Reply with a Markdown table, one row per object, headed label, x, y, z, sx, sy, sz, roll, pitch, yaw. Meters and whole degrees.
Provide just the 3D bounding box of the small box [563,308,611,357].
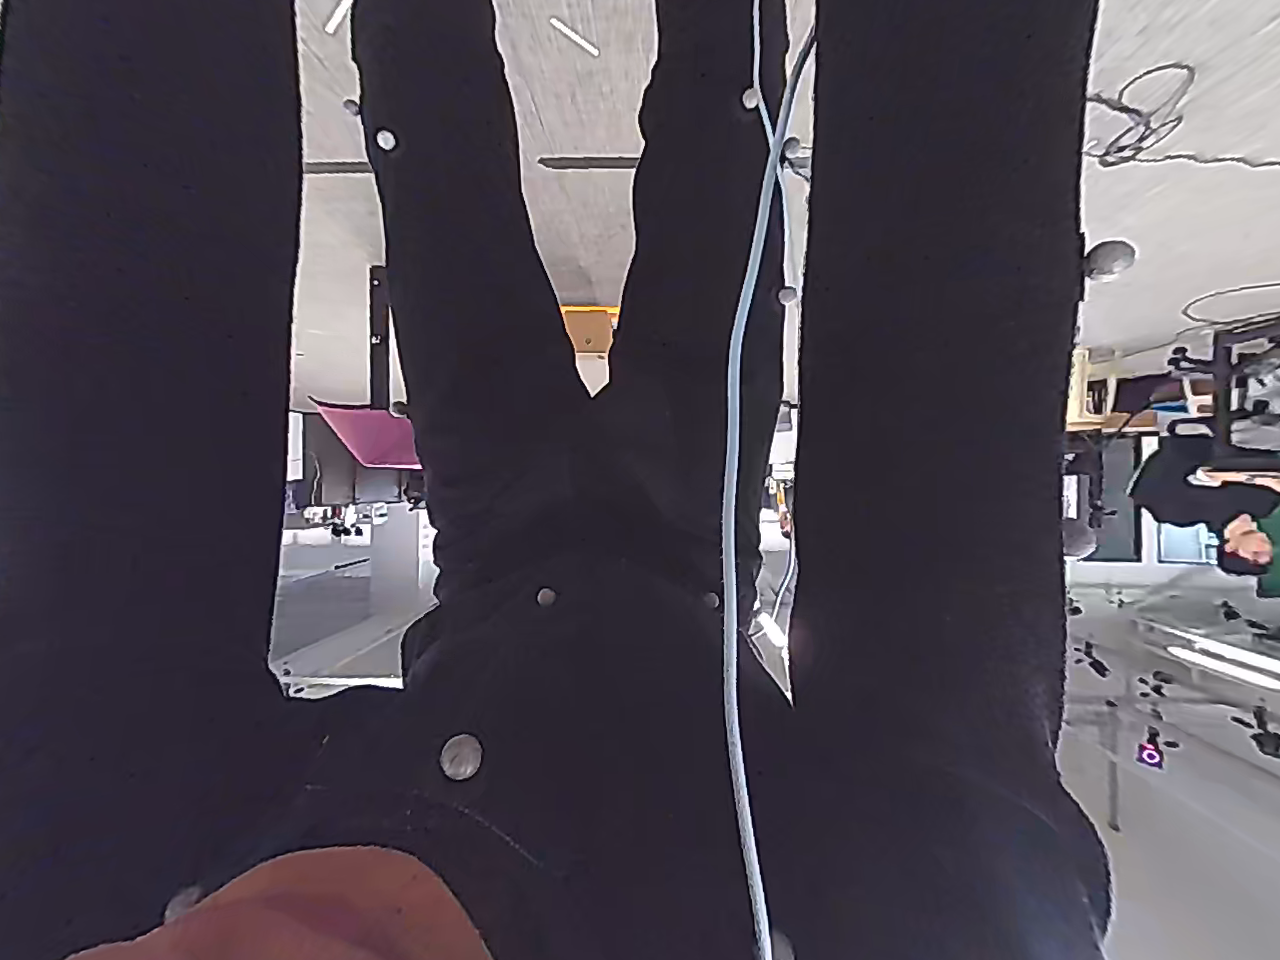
| label | x | y | z | sx | sy | sz | roll | pitch | yaw |
| --- | --- | --- | --- | --- | --- | --- | --- | --- | --- |
| small box | -0.214 | -0.607 | 2.228 | 0.179 | 0.176 | 0.168 | 2 | -179 | 5 |
